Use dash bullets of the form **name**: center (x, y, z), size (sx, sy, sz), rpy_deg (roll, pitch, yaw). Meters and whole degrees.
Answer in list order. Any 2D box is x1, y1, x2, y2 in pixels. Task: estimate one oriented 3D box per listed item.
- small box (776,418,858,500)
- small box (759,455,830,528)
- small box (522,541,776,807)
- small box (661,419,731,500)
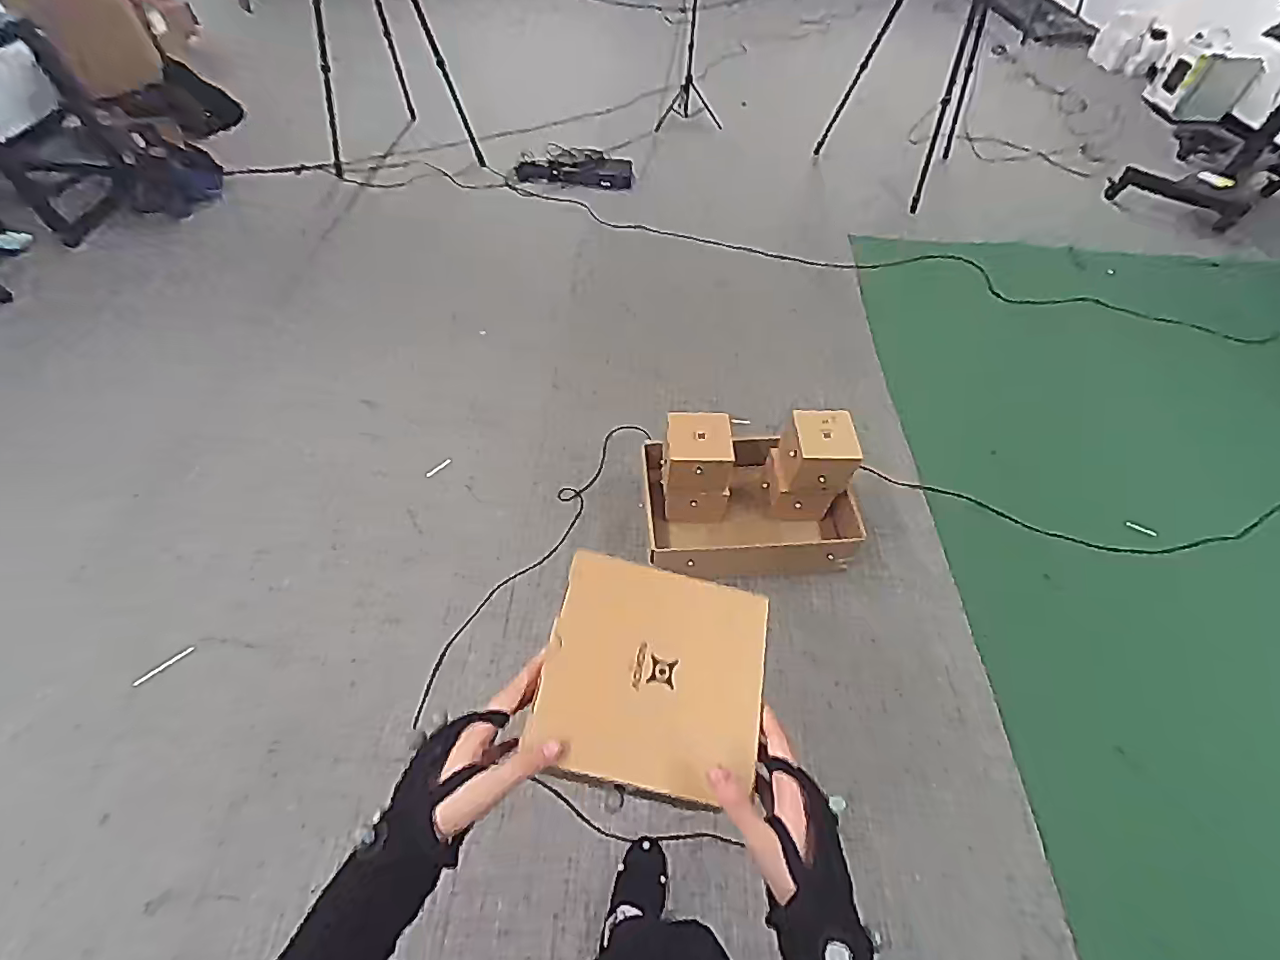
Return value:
- **small box**: center (0.500, -0.057, 1.552), size (0.168, 0.176, 0.179), rpy_deg (2, 53, -3)
- **small box**: center (0.476, 0.039, 1.685), size (0.179, 0.176, 0.168), rpy_deg (1, 54, -2)
- **small box**: center (0.003, 0.180, 0.488), size (0.179, 0.176, 0.168), rpy_deg (15, 58, -2)
- **small box**: center (0.150, -0.055, 1.531), size (0.179, 0.176, 0.168), rpy_deg (2, 55, -3)
